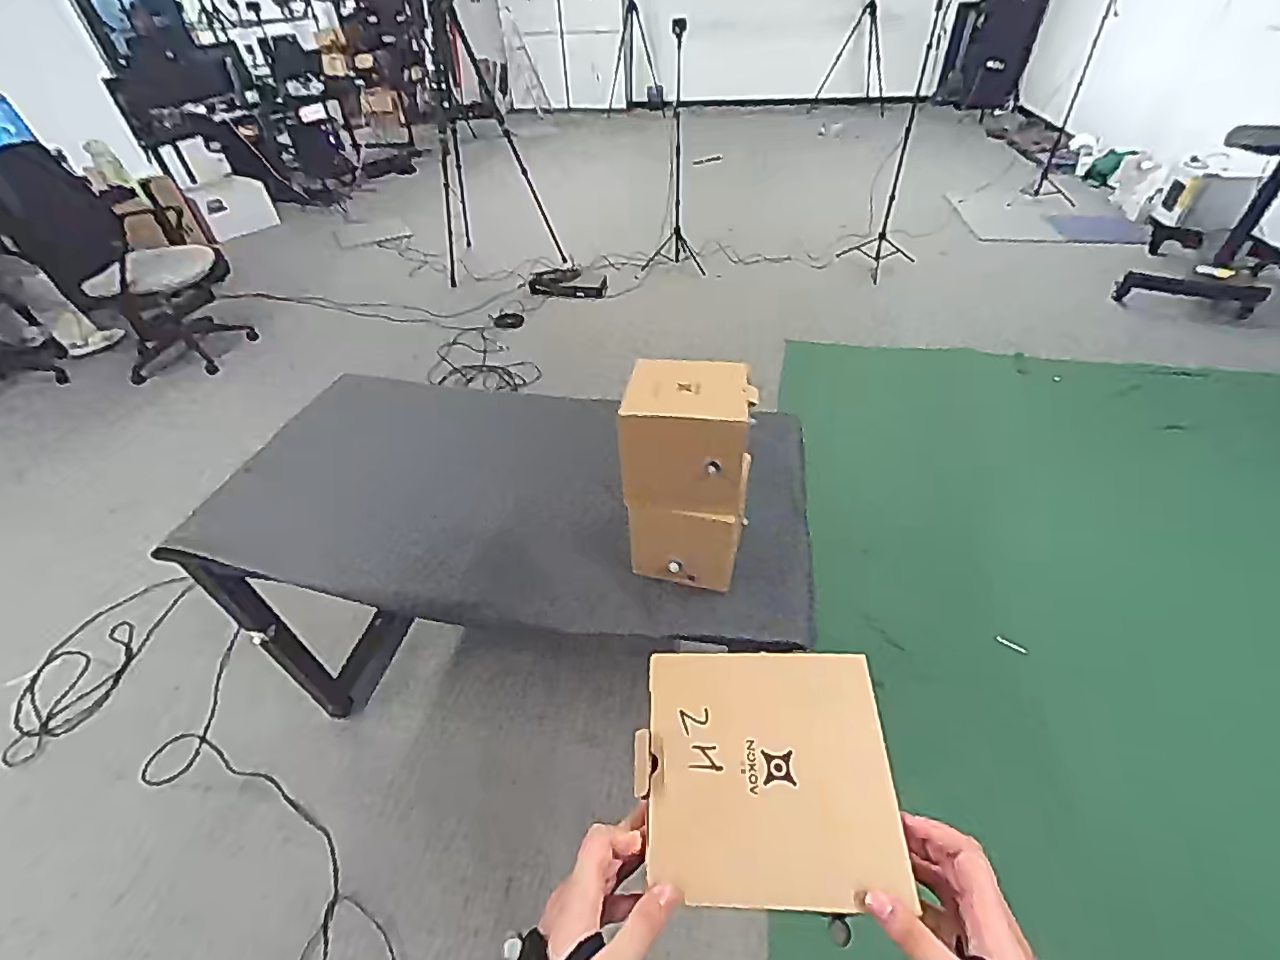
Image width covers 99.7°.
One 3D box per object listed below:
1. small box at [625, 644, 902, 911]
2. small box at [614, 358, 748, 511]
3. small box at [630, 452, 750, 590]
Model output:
[{"bbox_3d":[0.087,0.247,0.450,0.179,0.176,0.168,-2,52,6],"label":"small box"},{"bbox_3d":[0.068,-0.068,0.815,0.179,0.176,0.168,3,39,9],"label":"small box"},{"bbox_3d":[0.086,0.057,0.918,0.168,0.176,0.179,9,42,15],"label":"small box"}]
